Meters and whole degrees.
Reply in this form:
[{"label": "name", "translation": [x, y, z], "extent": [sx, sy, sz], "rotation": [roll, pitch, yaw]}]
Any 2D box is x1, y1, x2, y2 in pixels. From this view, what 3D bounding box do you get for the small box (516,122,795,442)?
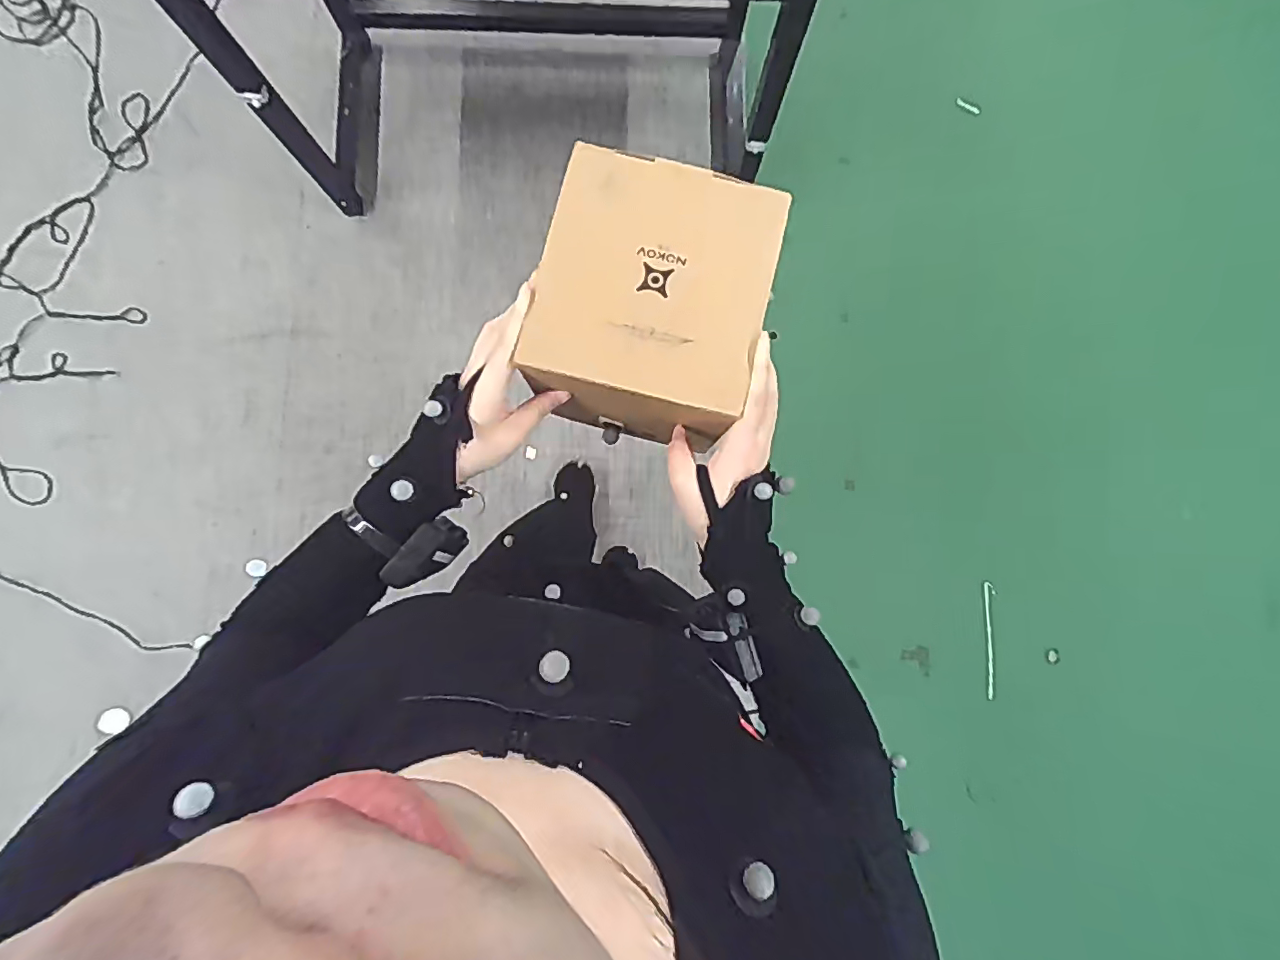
[{"label": "small box", "translation": [0.010, -0.145, 0.457], "extent": [0.168, 0.176, 0.179], "rotation": [14, 84, 0]}]
